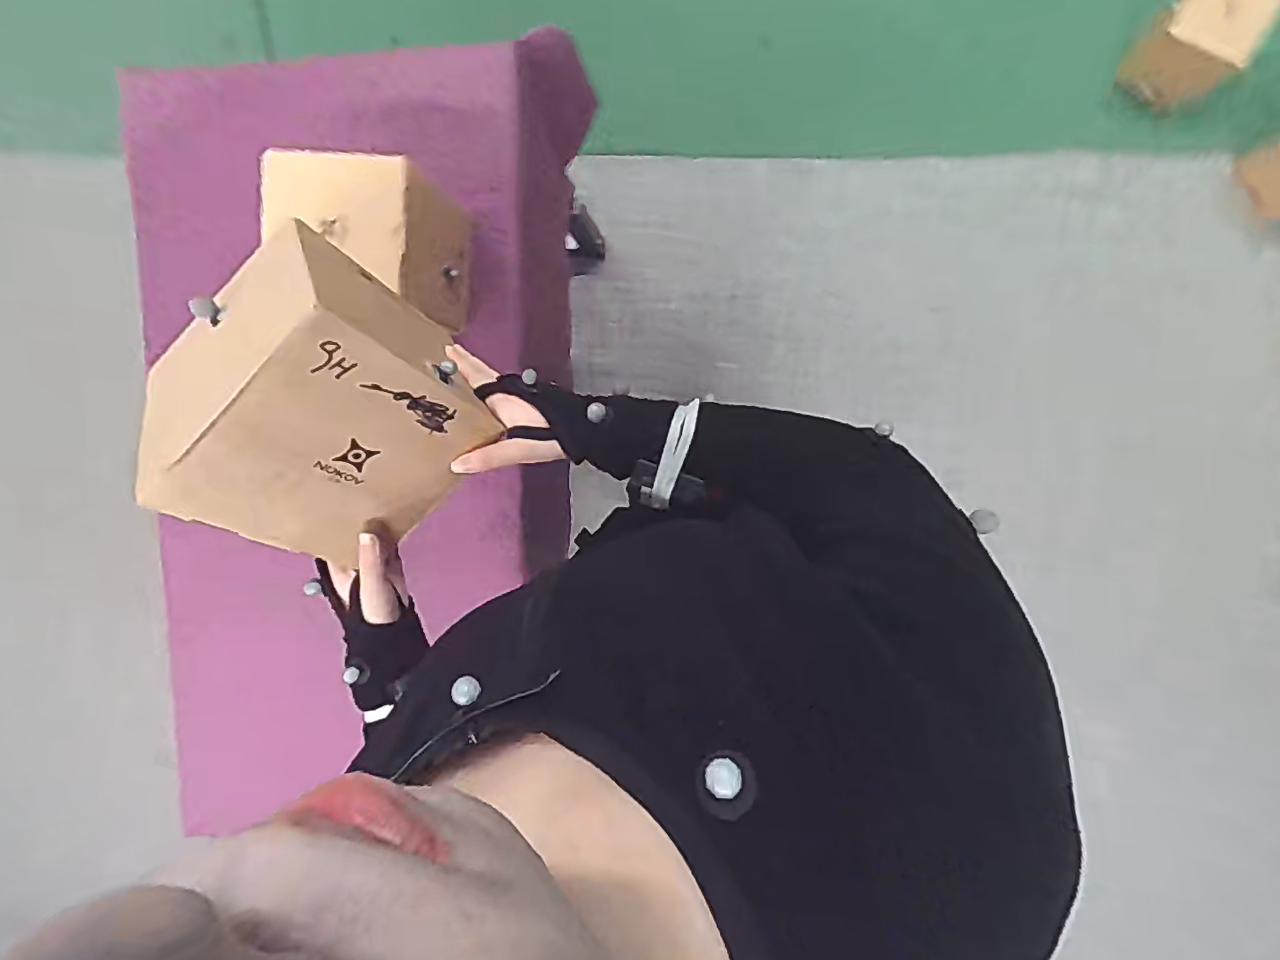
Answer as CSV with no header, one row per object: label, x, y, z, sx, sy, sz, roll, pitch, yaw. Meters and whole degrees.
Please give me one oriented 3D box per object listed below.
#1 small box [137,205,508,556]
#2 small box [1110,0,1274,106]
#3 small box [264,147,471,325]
small box,-0.243,-0.075,0.433,0.179,0.168,0.176,-41,53,6
small box,1.196,-0.977,1.178,0.168,0.176,0.179,28,98,4
small box,-0.341,-0.298,0.697,0.179,0.176,0.168,6,96,6
